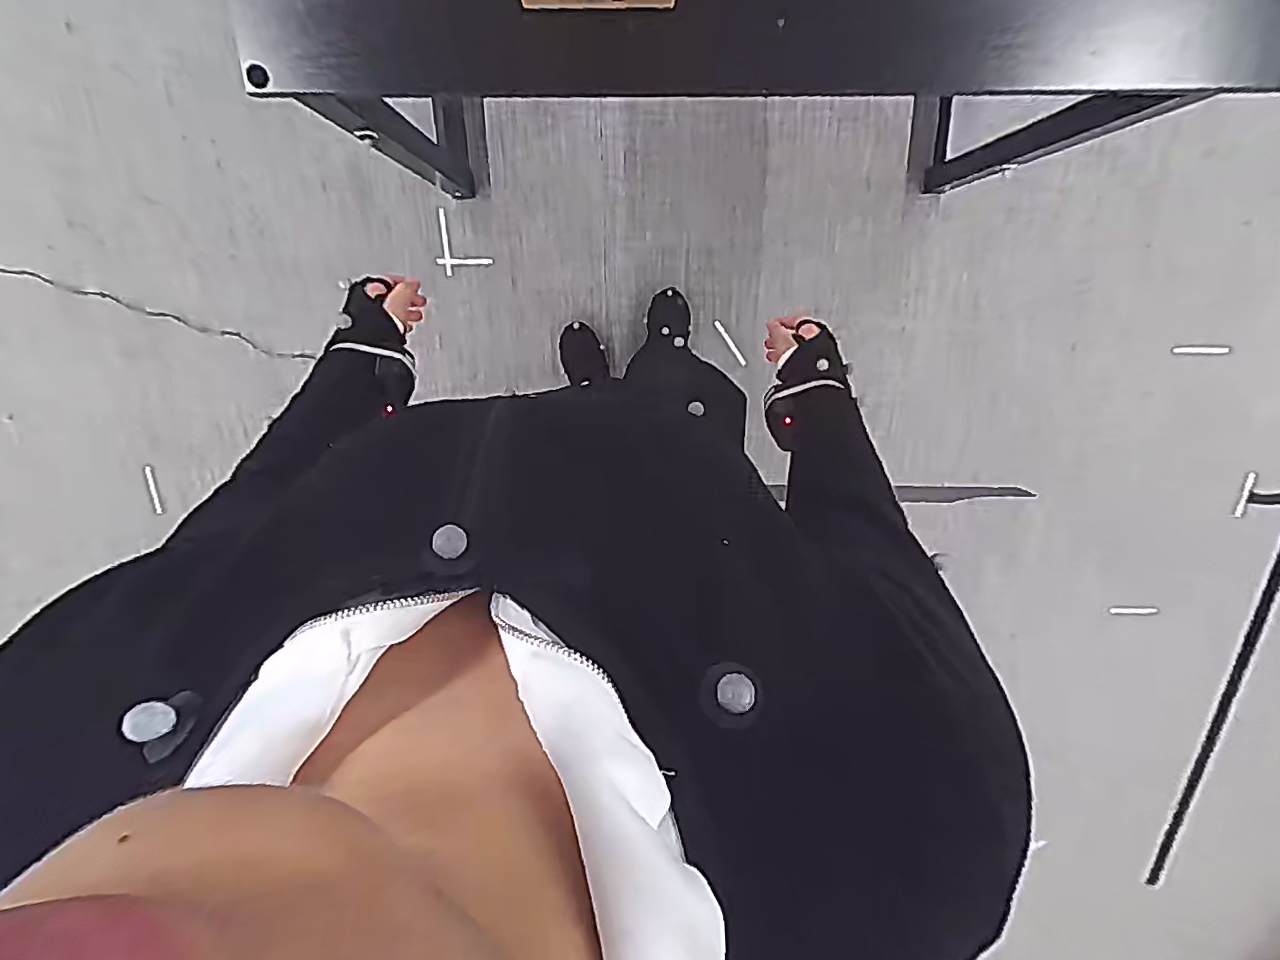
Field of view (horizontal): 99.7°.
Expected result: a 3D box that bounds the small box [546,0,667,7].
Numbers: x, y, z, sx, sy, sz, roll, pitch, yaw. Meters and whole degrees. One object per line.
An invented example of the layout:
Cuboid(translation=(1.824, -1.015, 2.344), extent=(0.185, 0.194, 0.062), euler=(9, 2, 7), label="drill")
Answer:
Cuboid(translation=(-0.044, -0.577, 0.495), extent=(0.168, 0.176, 0.179), euler=(-1, 107, -2), label="small box")
